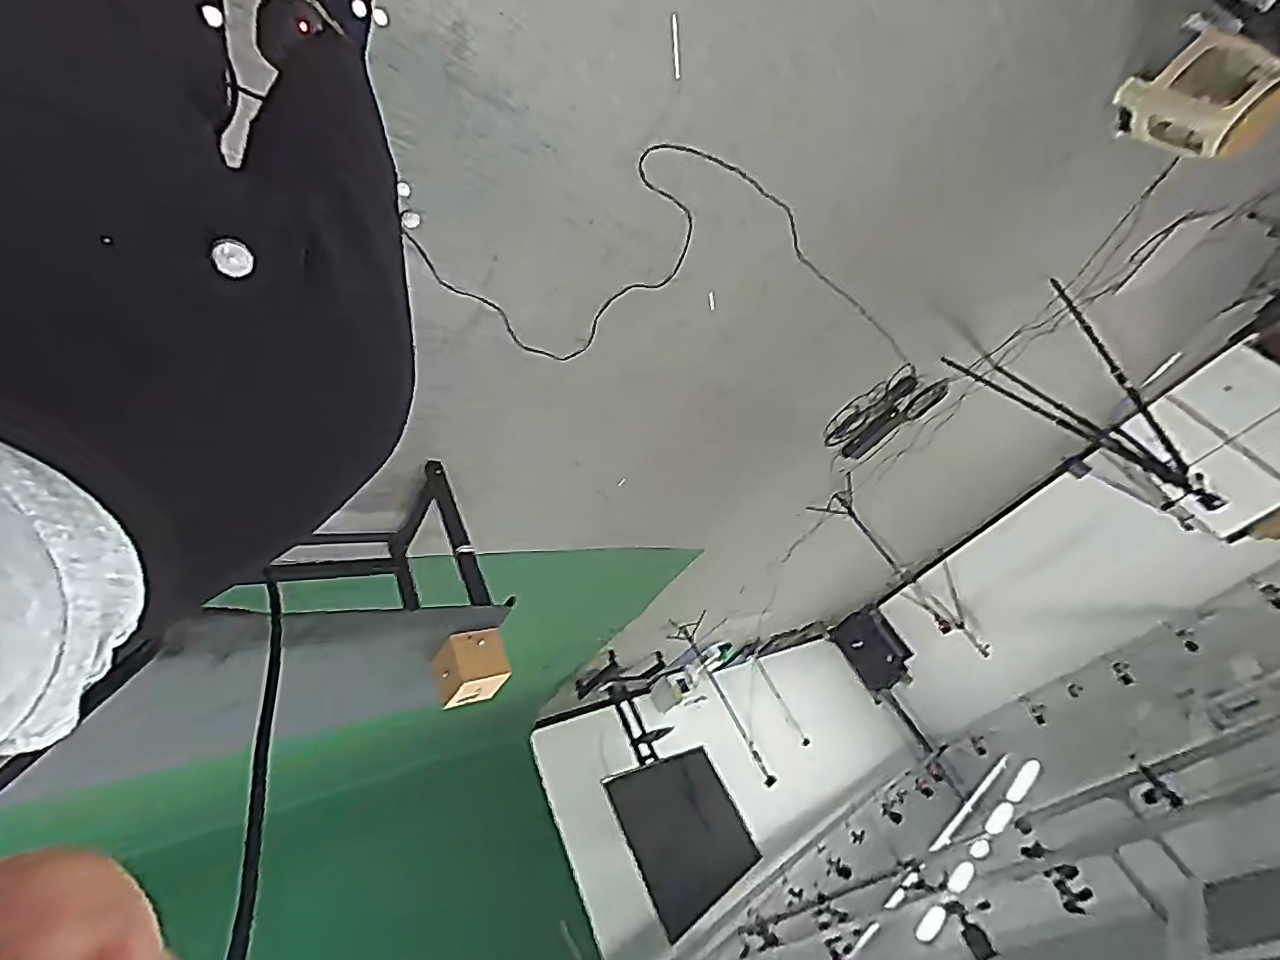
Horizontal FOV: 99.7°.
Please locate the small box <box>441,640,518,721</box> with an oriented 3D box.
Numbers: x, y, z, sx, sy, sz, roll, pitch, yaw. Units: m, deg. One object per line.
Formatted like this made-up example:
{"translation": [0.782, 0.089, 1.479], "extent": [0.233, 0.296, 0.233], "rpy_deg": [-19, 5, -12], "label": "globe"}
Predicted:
{"translation": [-0.524, 0.641, 1.739], "extent": [0.168, 0.176, 0.179], "rpy_deg": [3, 134, -44], "label": "small box"}
